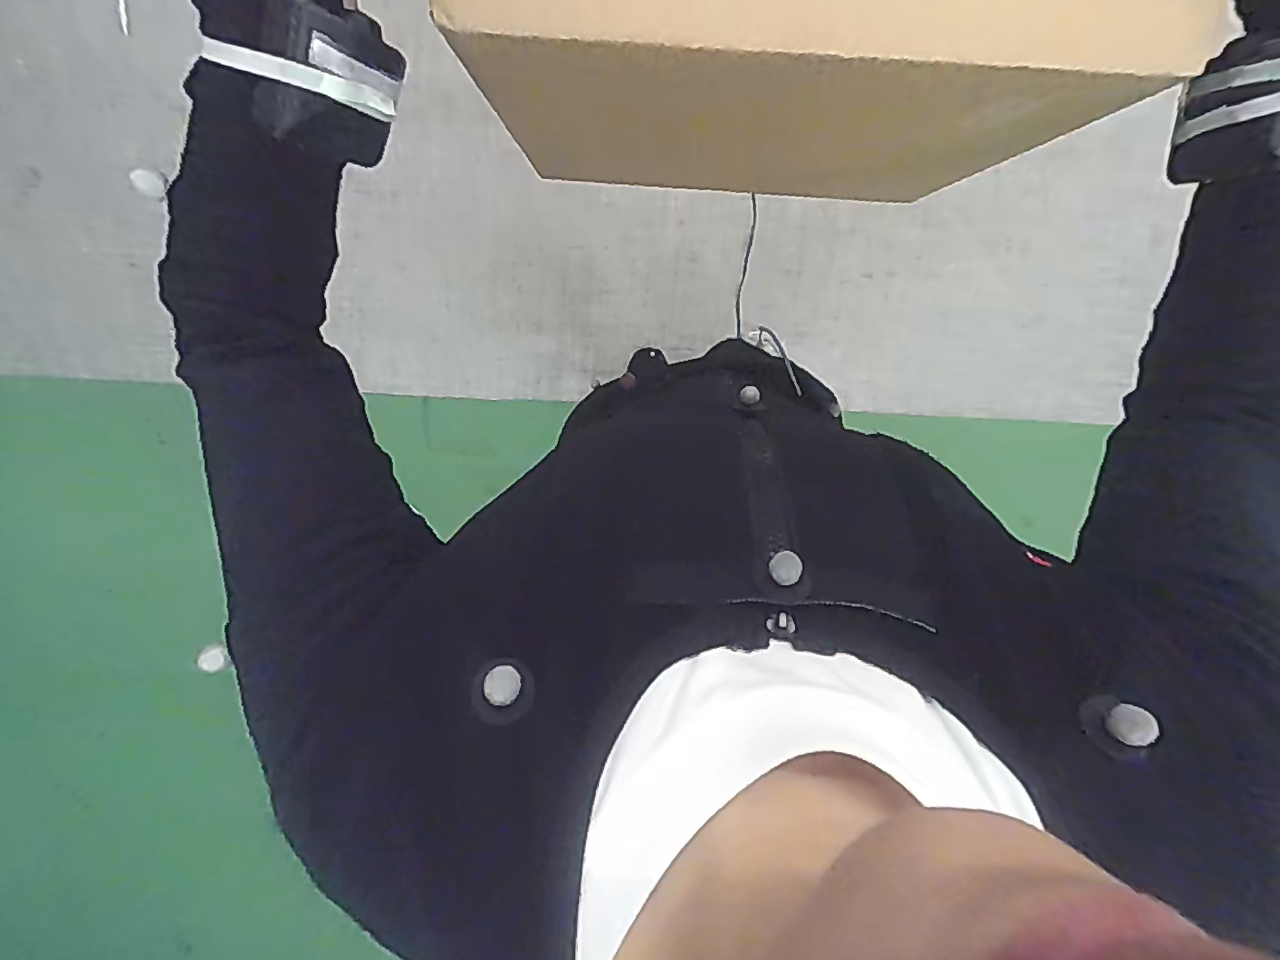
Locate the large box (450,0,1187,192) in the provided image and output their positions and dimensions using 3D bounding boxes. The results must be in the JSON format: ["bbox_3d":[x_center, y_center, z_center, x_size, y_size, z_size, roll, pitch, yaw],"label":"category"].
[{"bbox_3d":[0.098,-0.421,0.398,0.408,0.320,0.320,3,107,-1],"label":"large box"}]
